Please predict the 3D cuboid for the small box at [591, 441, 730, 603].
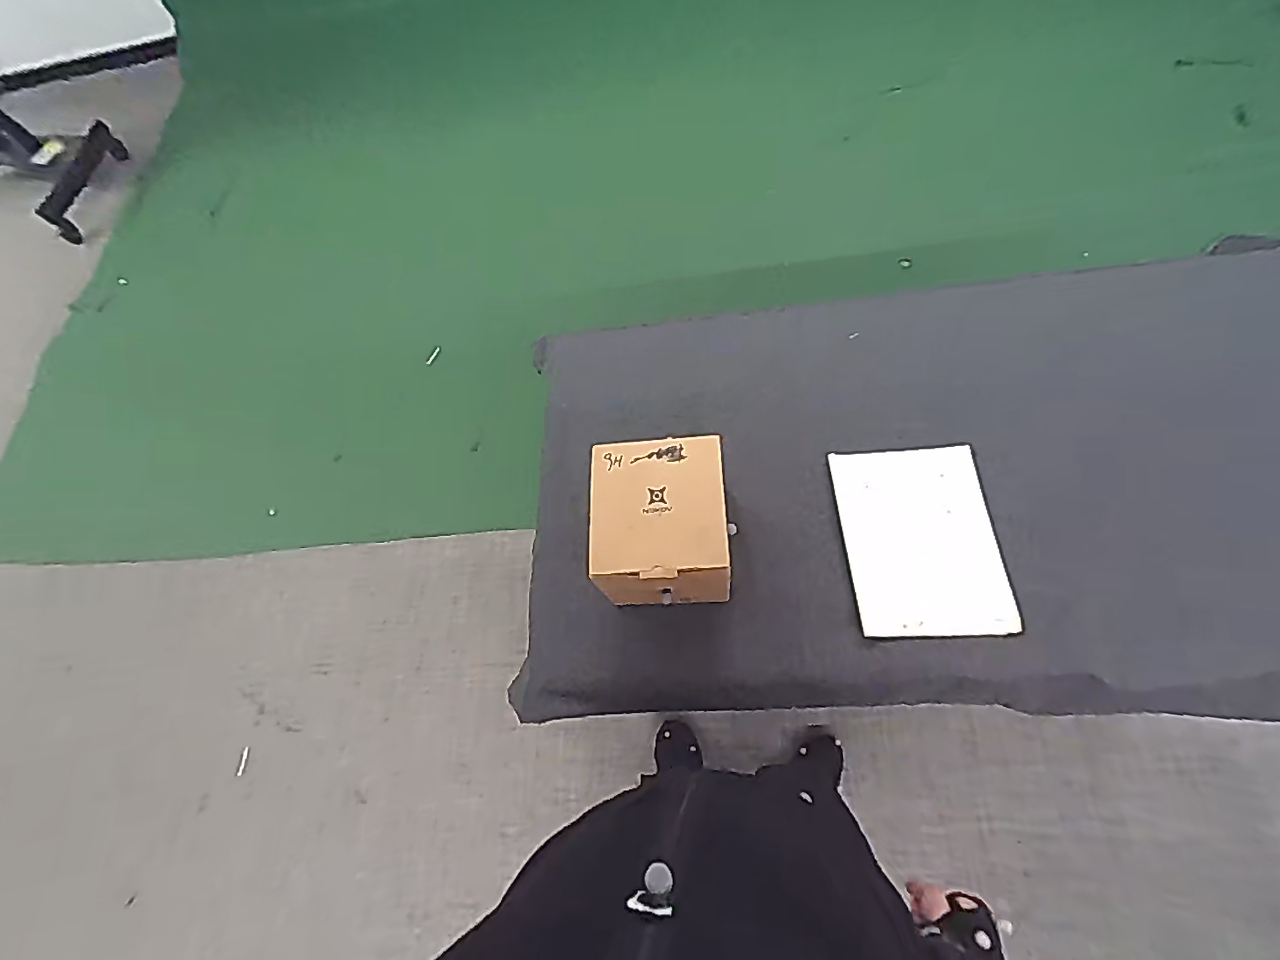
[{"bbox_3d":[0.034,0.067,0.729,0.168,0.176,0.179,-4,66,7],"label":"small box"}]
